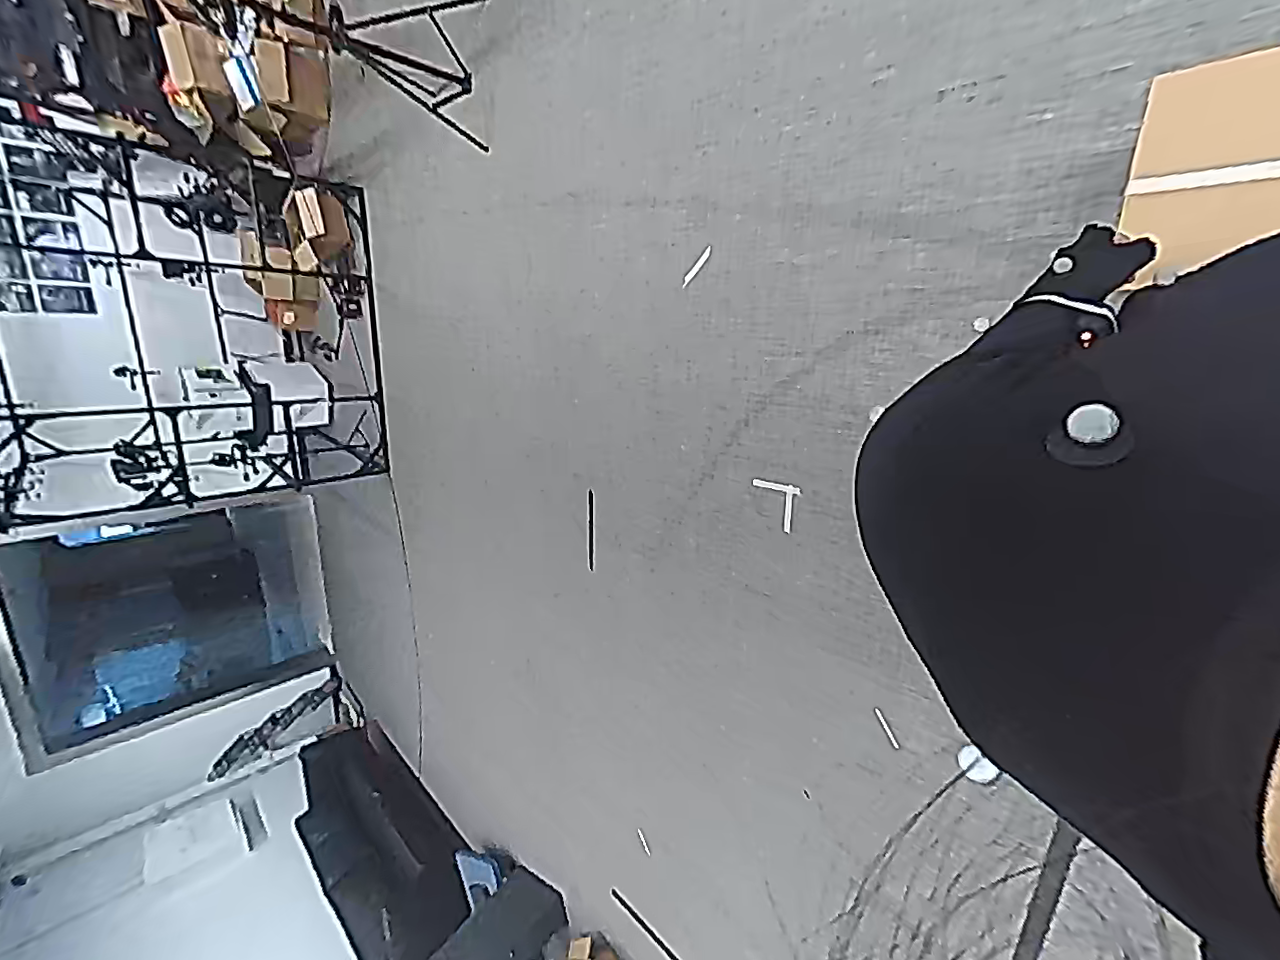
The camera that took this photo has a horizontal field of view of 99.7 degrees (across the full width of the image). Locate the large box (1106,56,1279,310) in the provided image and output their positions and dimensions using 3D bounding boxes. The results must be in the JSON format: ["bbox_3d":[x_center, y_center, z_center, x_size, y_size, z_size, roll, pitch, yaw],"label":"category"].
[{"bbox_3d":[1.027,-0.441,0.837,0.408,0.320,0.320,16,110,43],"label":"large box"}]
